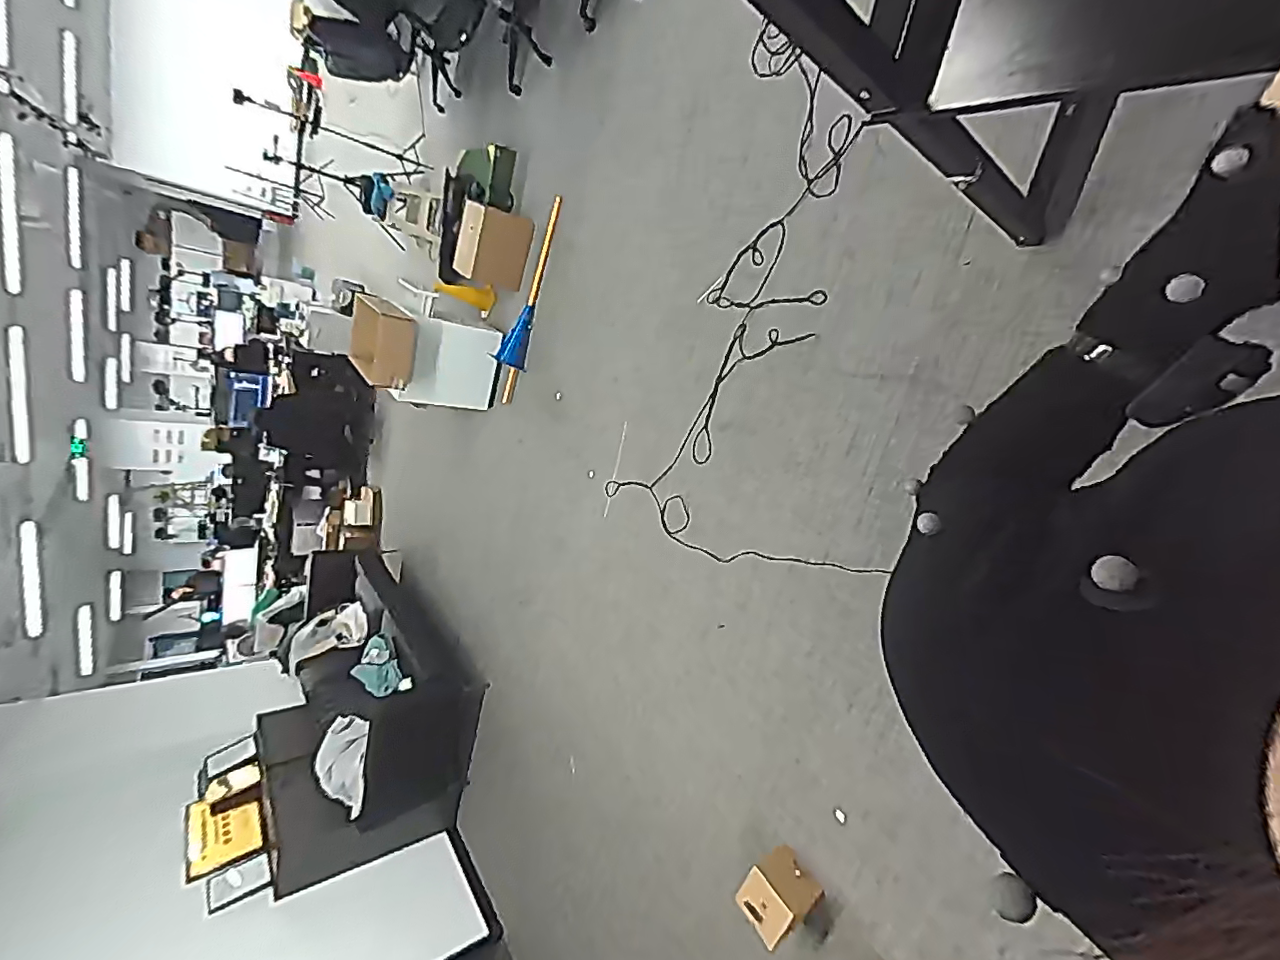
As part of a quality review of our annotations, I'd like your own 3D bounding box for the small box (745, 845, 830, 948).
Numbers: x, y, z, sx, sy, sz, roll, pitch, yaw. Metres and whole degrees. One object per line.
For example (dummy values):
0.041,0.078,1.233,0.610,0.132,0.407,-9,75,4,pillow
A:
0.472,1.321,1.724,0.168,0.176,0.179,38,117,43,small box
